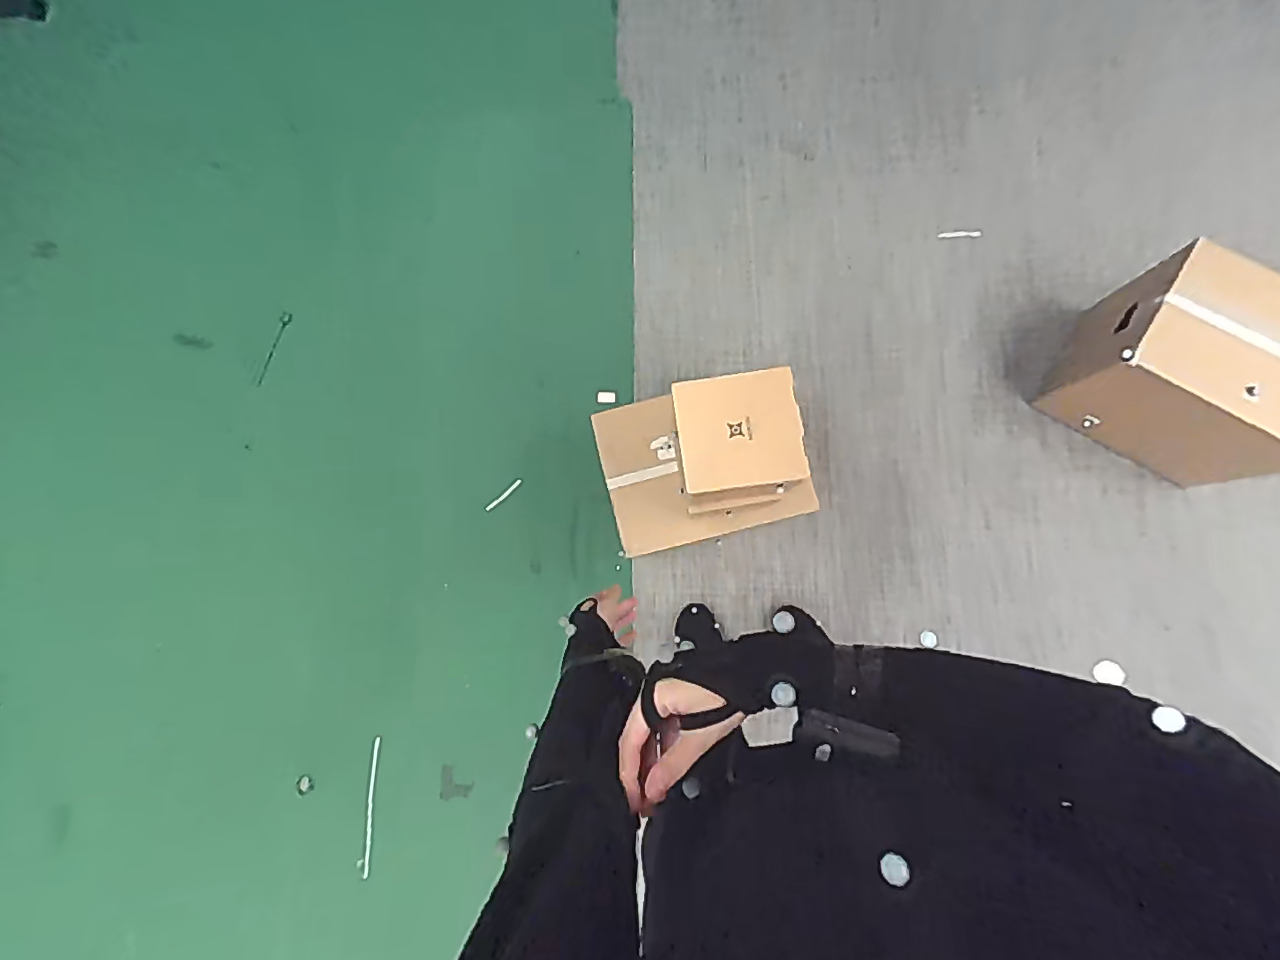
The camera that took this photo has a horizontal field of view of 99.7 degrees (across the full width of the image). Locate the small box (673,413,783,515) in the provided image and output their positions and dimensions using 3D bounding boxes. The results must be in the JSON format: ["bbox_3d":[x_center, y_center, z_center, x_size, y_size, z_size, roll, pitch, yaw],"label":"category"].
[{"bbox_3d":[0.155,-0.033,0.998,0.168,0.176,0.179,-9,81,2],"label":"small box"}]

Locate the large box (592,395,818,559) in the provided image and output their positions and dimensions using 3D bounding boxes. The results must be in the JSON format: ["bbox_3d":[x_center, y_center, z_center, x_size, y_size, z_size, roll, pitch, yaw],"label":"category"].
[{"bbox_3d":[0.141,-0.017,1.247,0.408,0.320,0.320,-15,79,3],"label":"large box"}]

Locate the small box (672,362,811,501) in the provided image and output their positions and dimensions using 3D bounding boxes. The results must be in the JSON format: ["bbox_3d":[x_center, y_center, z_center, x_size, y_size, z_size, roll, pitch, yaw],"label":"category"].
[{"bbox_3d":[0.147,-0.066,0.840,0.179,0.176,0.168,-8,81,2],"label":"small box"}]
